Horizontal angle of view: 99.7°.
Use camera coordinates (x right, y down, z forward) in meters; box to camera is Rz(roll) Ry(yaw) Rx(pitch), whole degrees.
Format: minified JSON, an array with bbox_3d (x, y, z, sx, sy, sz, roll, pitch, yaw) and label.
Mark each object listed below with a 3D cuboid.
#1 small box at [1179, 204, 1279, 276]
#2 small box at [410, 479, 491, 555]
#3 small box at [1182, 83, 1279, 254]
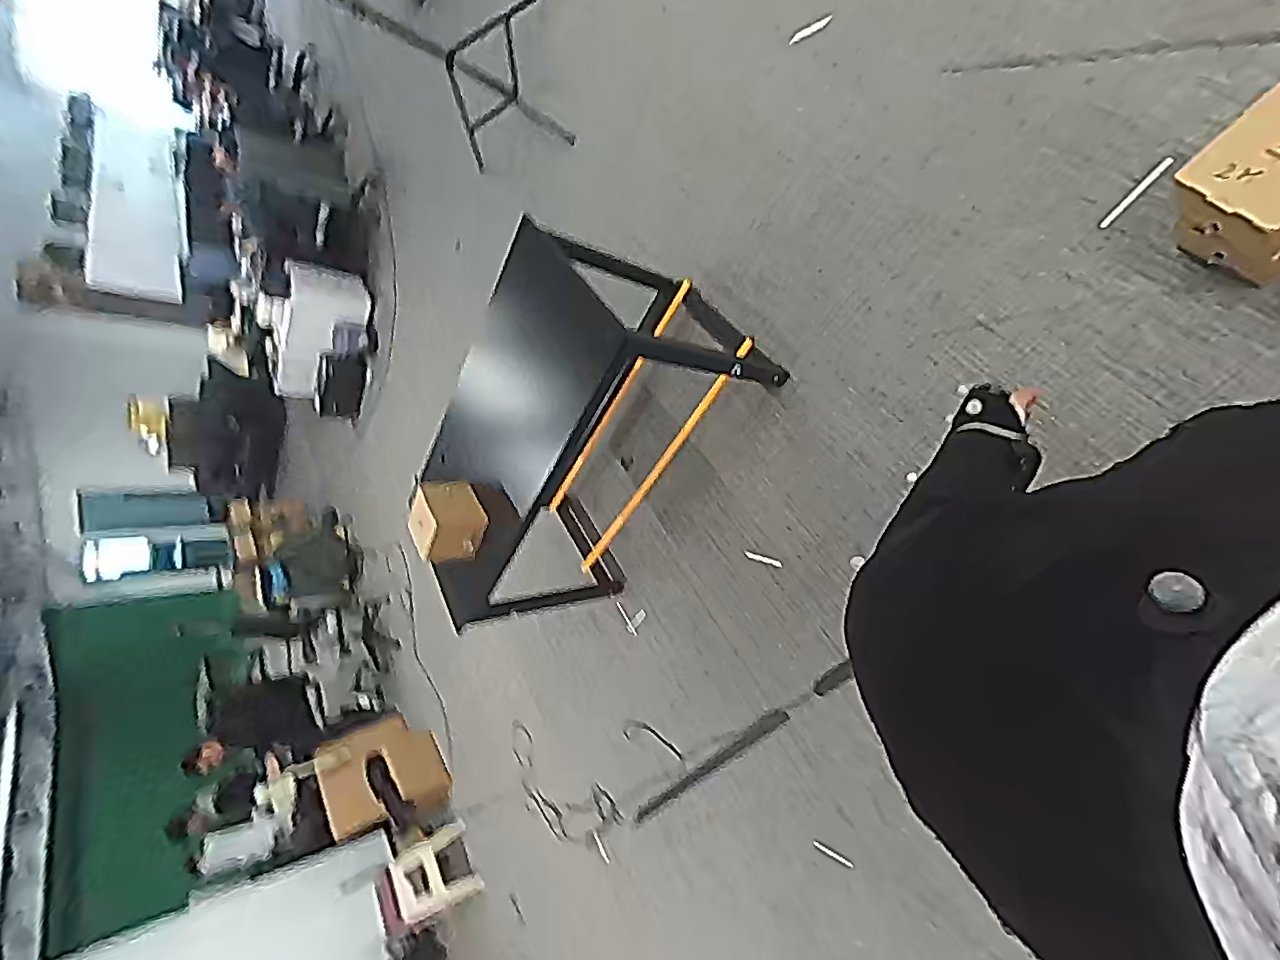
[{"bbox_3d":[1.112,-0.485,0.944,0.168,0.176,0.179,56,128,30],"label":"small box"},{"bbox_3d":[-0.596,0.114,1.699,0.179,0.176,0.168,50,125,33],"label":"small box"},{"bbox_3d":[0.993,-0.483,0.827,0.179,0.176,0.168,-50,56,35],"label":"small box"}]
